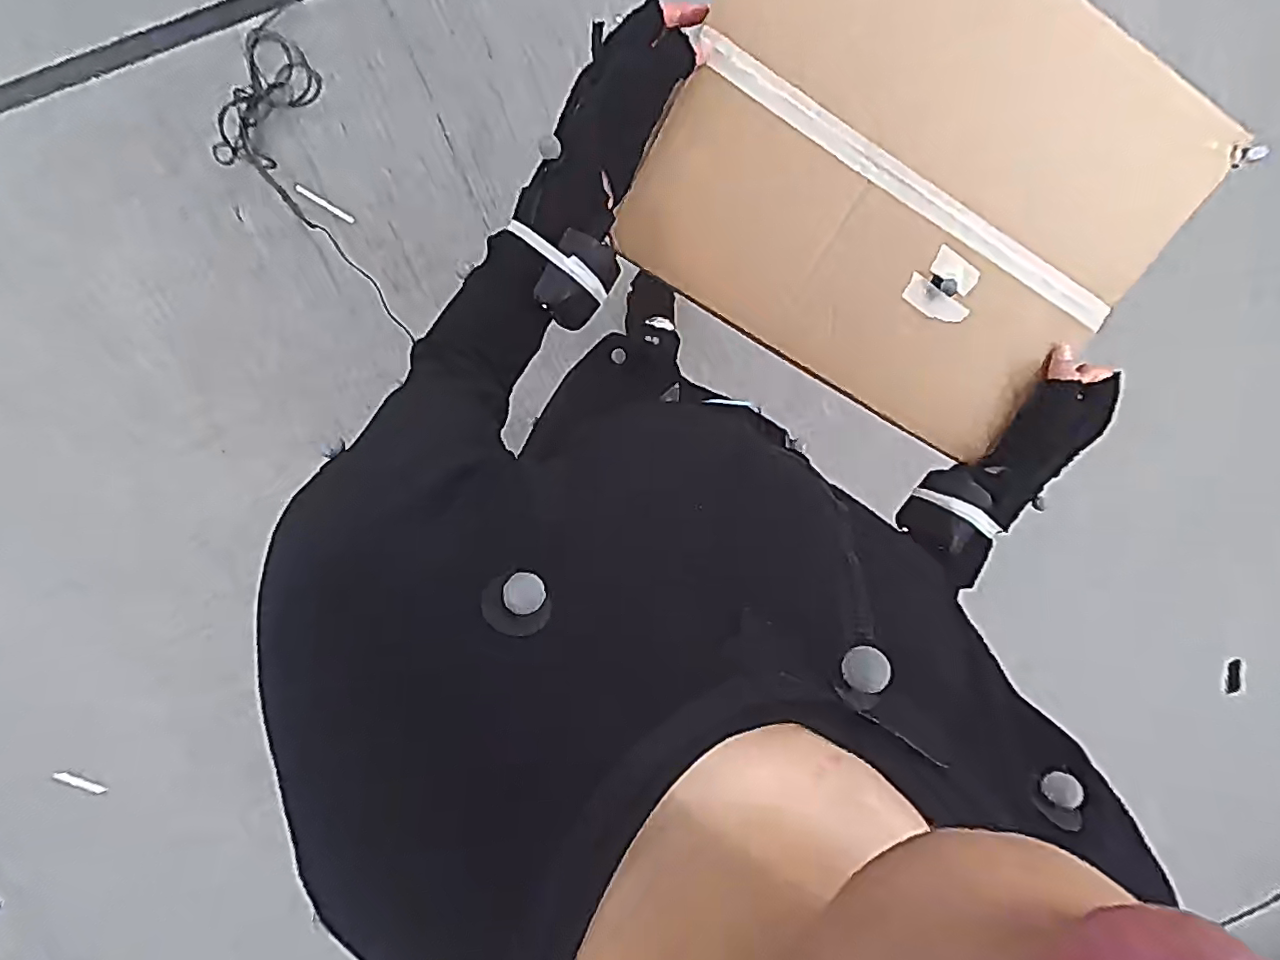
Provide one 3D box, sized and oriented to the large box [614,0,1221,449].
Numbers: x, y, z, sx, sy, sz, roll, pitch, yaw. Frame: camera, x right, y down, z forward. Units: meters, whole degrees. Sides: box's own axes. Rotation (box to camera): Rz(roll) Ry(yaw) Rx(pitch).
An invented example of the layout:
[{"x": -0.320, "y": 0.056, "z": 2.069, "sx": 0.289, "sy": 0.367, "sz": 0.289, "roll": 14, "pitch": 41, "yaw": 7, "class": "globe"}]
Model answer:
[{"x": 0.220, "y": -0.293, "z": 0.584, "sx": 0.408, "sy": 0.320, "sz": 0.320, "roll": 29, "pitch": 109, "yaw": -10, "class": "large box"}]
